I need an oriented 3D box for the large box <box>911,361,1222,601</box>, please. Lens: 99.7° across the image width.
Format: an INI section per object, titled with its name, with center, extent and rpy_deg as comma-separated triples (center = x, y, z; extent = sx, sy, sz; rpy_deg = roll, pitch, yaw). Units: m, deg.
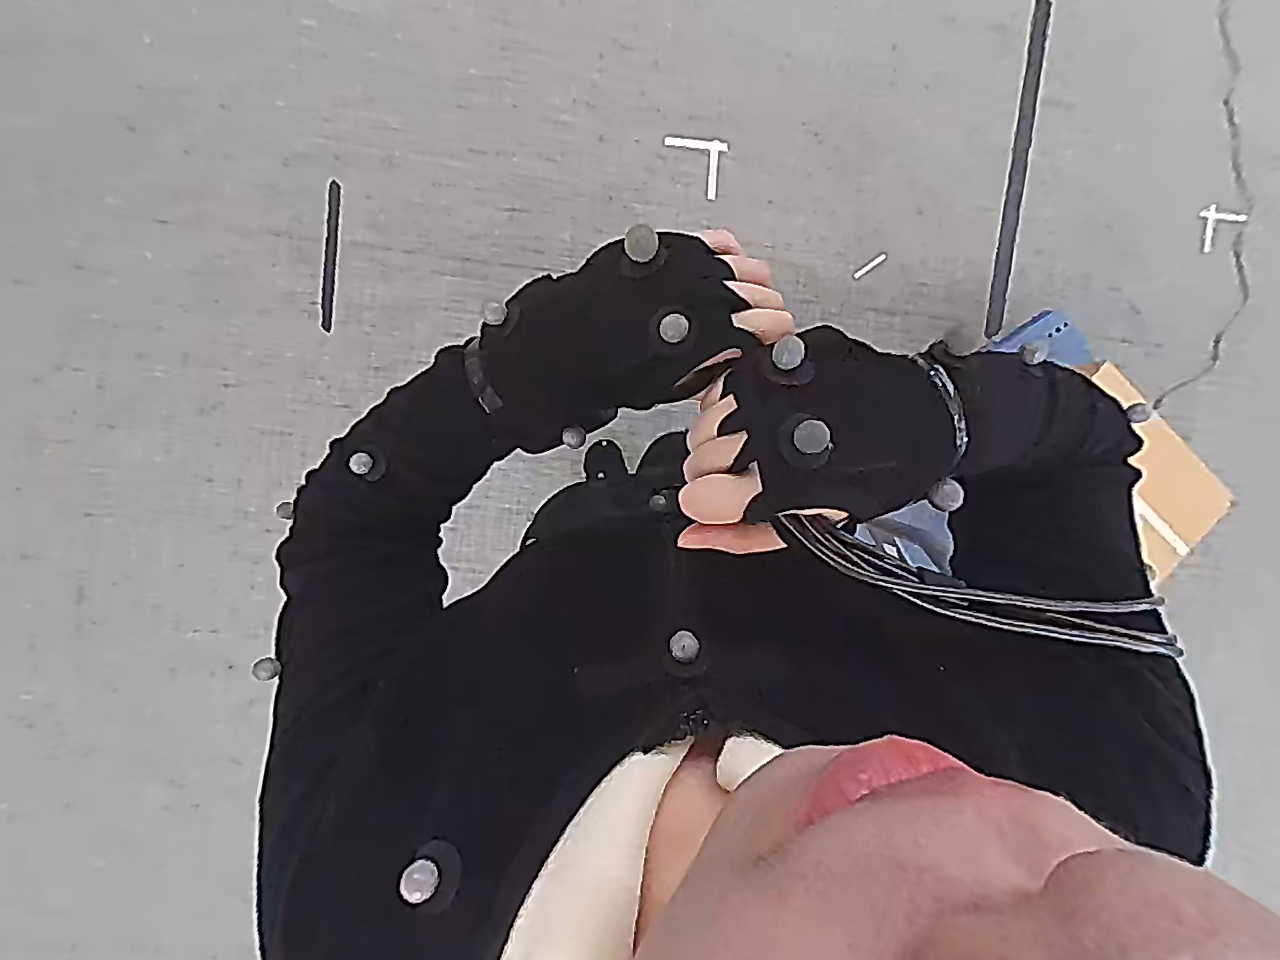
[large box]
center = 0.928, -0.004, 1.228
extent = 0.408, 0.320, 0.320
rpy_deg = 44, 90, -6
